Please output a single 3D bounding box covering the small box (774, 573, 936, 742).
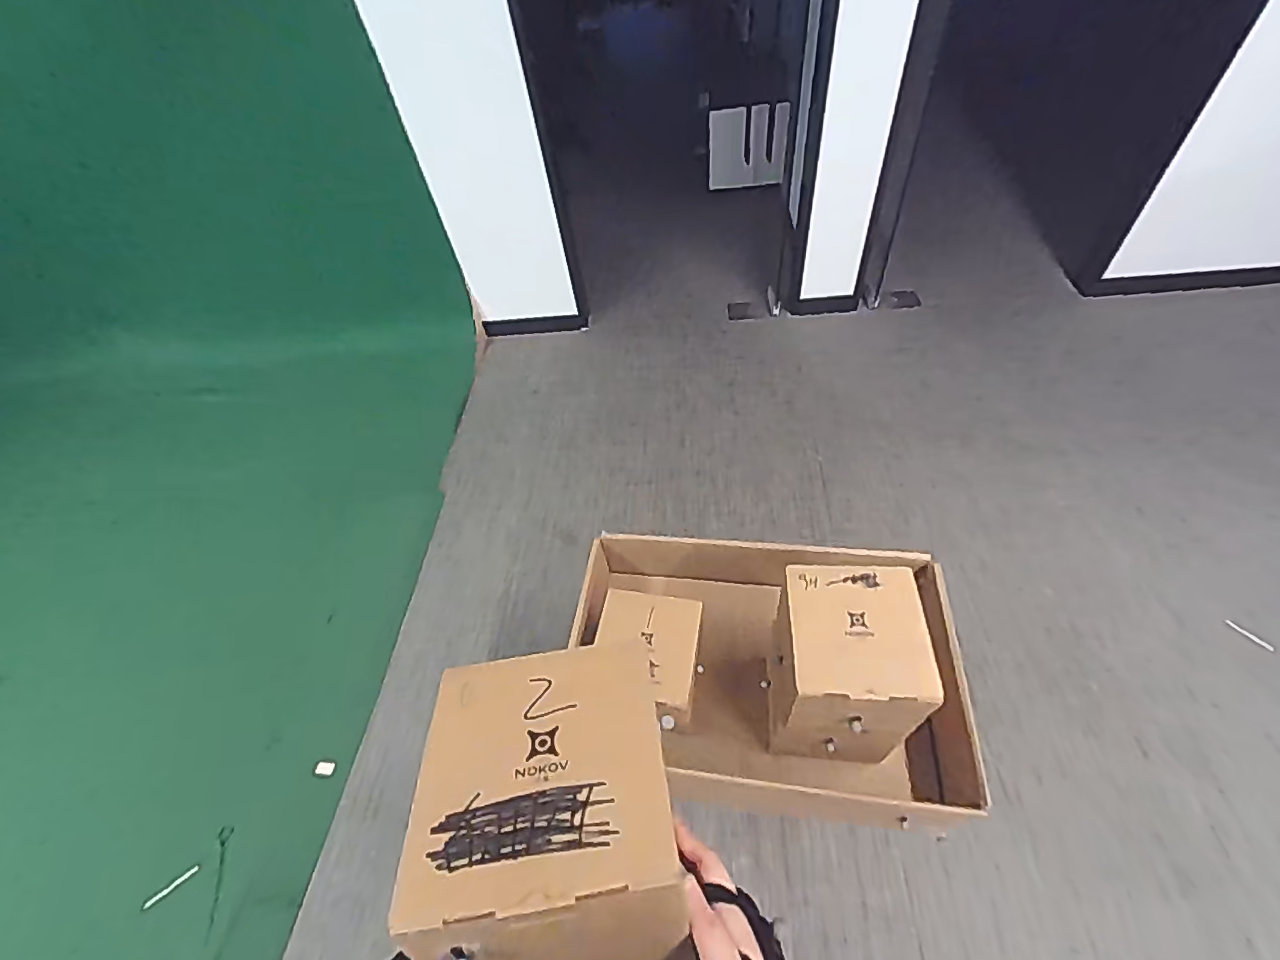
[{"bbox_3d":[0.277,0.246,0.741,0.168,0.176,0.179,1,52,8],"label":"small box"}]
